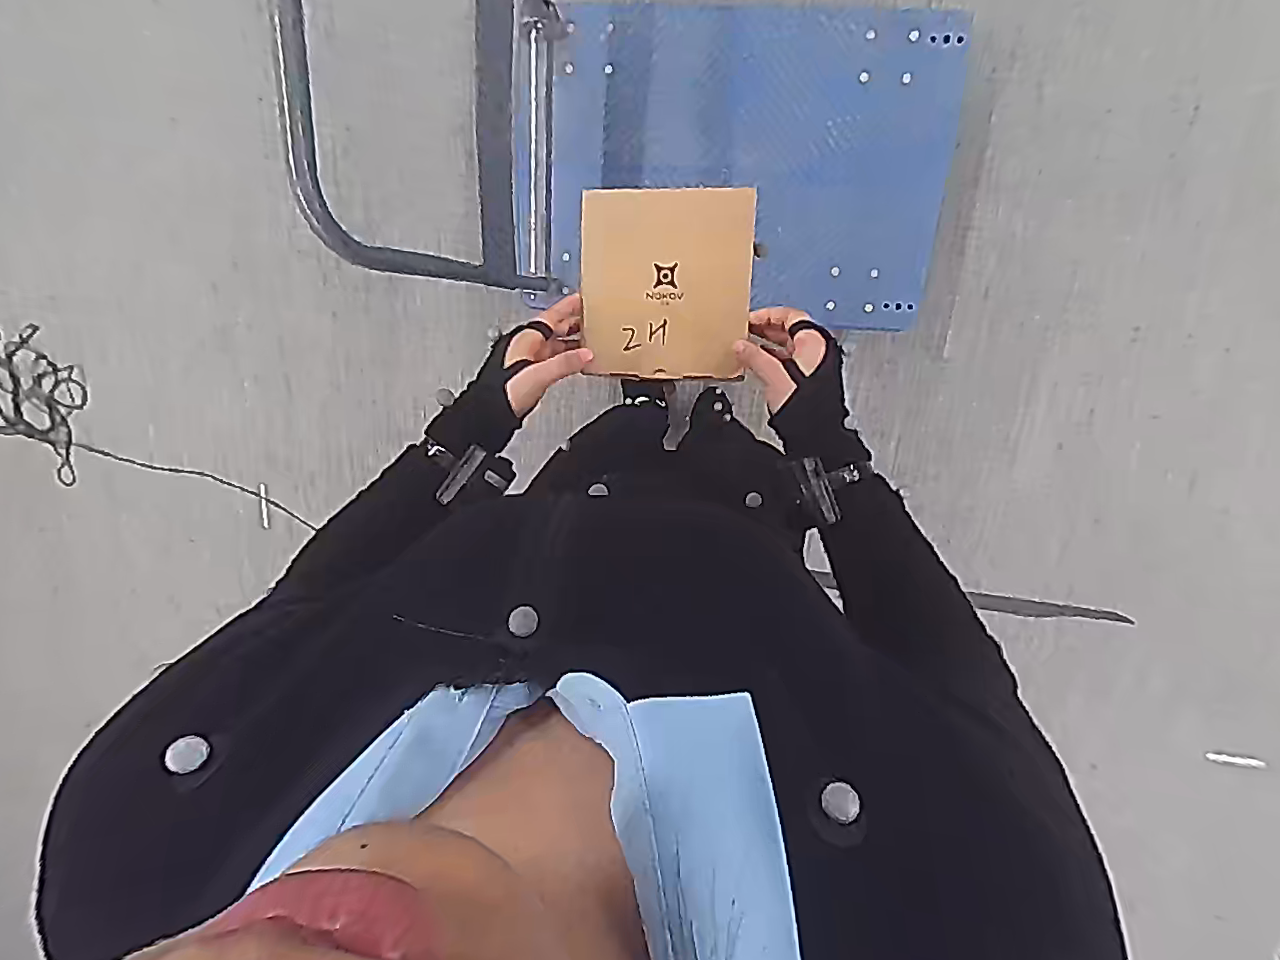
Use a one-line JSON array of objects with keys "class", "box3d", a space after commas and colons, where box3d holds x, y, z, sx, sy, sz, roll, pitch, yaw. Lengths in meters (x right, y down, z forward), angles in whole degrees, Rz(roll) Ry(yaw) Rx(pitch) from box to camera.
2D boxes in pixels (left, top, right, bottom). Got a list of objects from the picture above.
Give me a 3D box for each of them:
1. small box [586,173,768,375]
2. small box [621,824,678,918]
[{"class": "small box", "box3d": [0.042, -0.209, 0.589, 0.168, 0.176, 0.179, 4, 101, 8]}, {"class": "small box", "box3d": [0.033, 1.267, 1.757, 0.168, 0.176, 0.179, 5, 105, 4]}]
